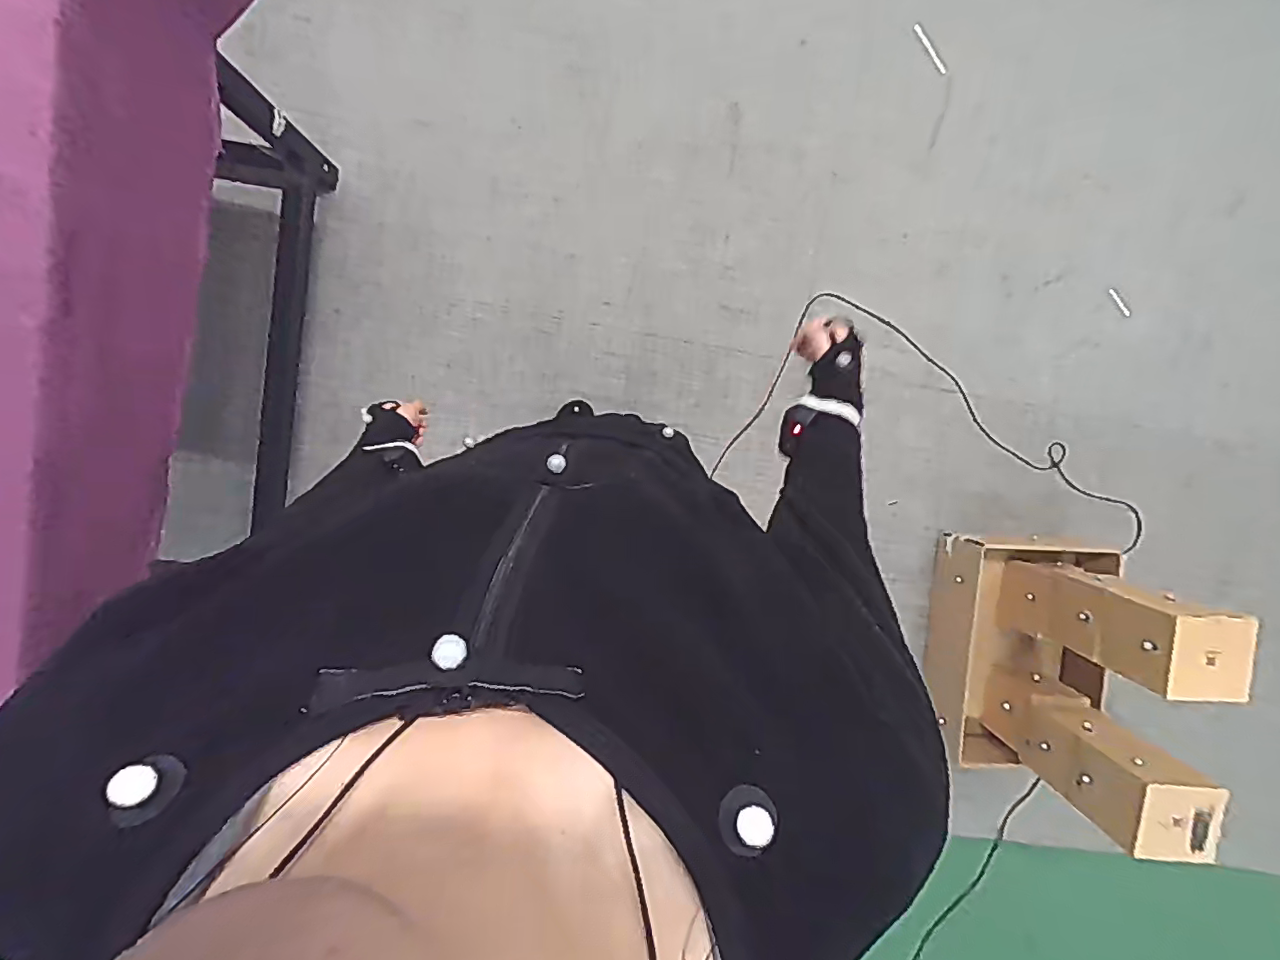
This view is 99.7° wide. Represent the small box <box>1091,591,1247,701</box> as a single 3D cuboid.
[{"bbox_3d":[1.117,0.348,1.157,0.168,0.176,0.179,2,95,-1],"label":"small box"}]

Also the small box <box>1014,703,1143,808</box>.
[{"bbox_3d":[1.081,0.678,1.349,0.179,0.176,0.168,6,96,-4],"label":"small box"}]

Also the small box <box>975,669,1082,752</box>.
[{"bbox_3d":[1.076,0.648,1.511,0.168,0.176,0.179,7,94,-4],"label":"small box"}]

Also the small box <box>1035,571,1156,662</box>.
[{"bbox_3d":[1.110,0.331,1.318,0.168,0.176,0.179,7,96,-2],"label":"small box"}]
